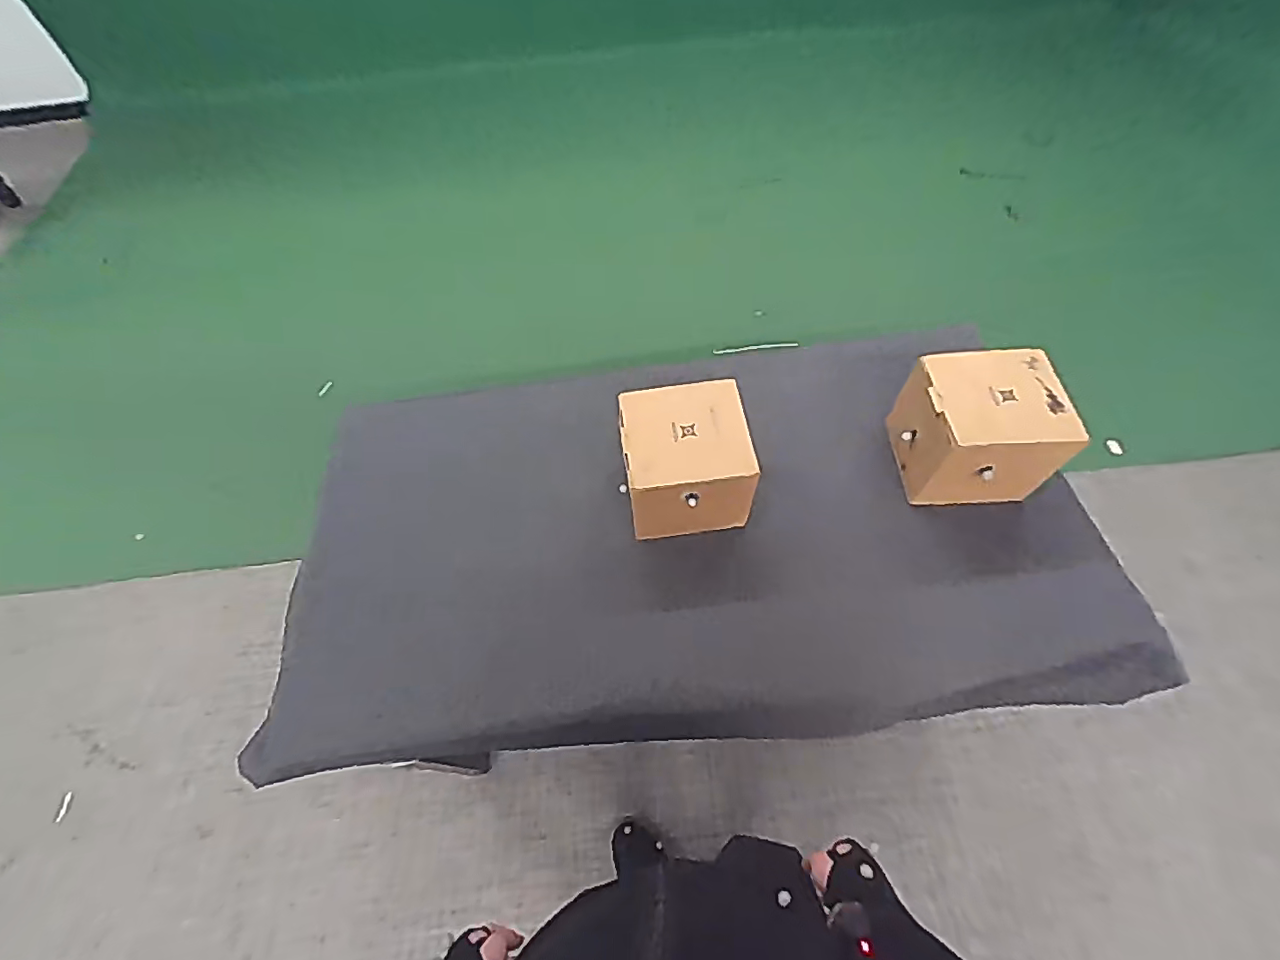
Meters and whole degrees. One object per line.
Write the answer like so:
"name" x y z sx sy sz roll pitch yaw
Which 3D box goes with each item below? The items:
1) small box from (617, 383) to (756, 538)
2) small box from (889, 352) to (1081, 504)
"small box" 0.065 -0.022 0.823 0.179 0.176 0.168 -7 61 -2
"small box" 0.498 -0.071 0.821 0.179 0.176 0.168 -3 60 3
